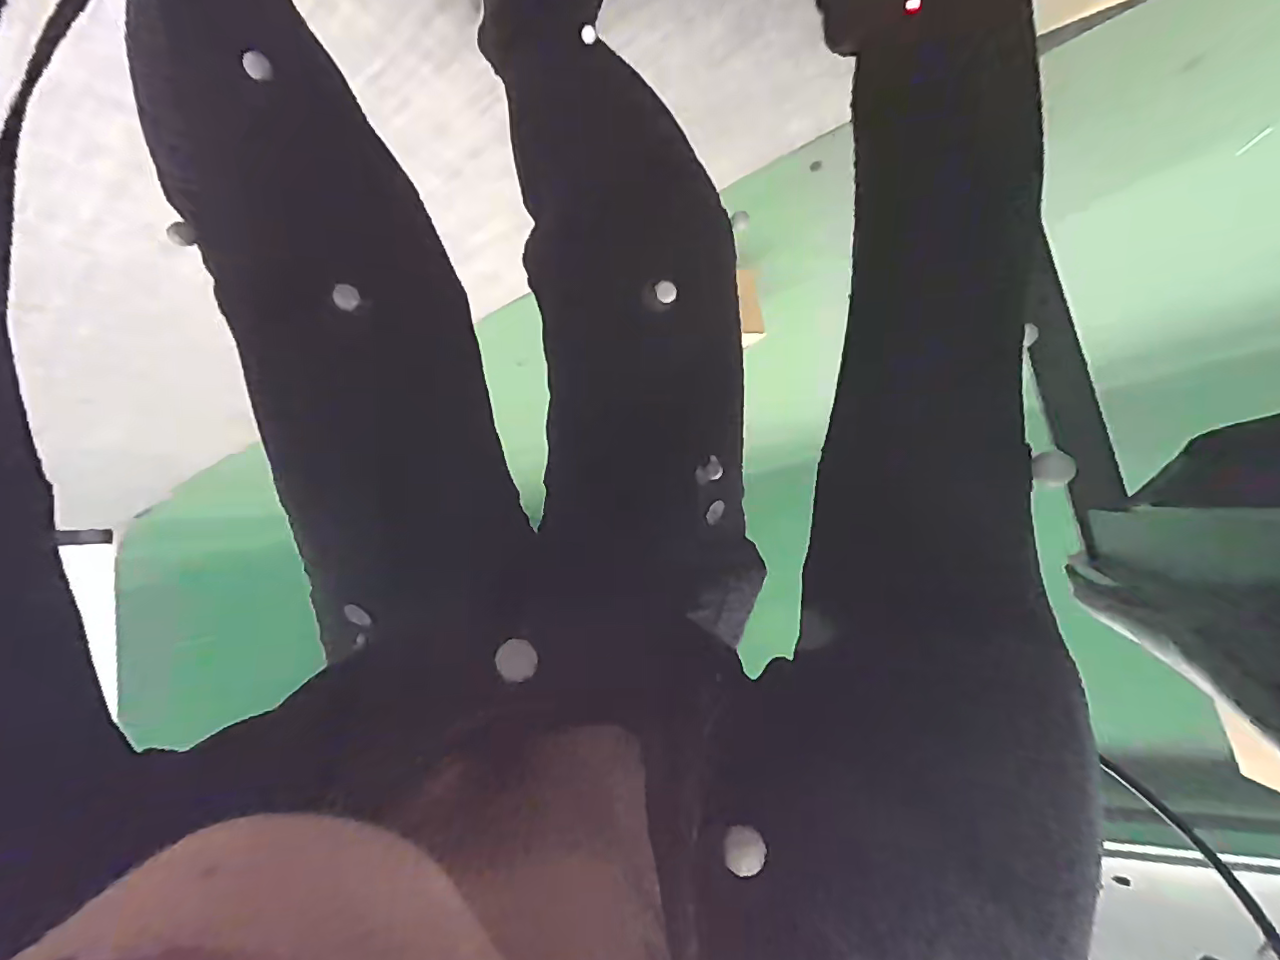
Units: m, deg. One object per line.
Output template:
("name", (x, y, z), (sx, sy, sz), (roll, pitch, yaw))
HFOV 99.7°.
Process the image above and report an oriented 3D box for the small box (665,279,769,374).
("small box", (0.181, -0.368, 1.311), (0.179, 0.176, 0.168), (-5, 169, -26))
